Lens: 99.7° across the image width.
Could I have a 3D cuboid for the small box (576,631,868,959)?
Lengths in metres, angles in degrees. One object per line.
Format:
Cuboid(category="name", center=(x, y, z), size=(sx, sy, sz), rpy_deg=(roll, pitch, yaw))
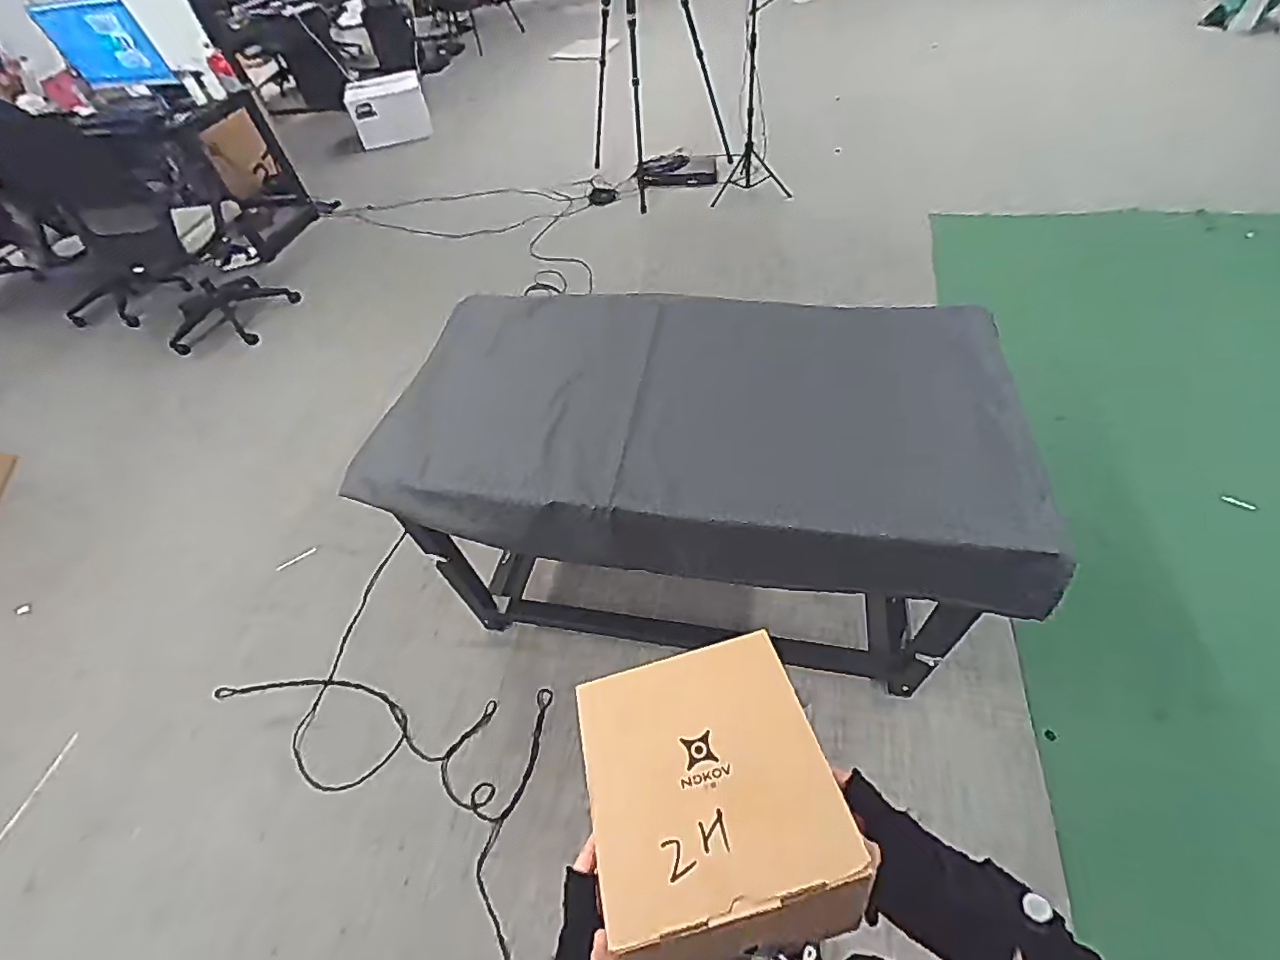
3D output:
Cuboid(category="small box", center=(0.056, 0.257, 0.430), size=(0.168, 0.176, 0.179), rpy_deg=(-16, 40, -1))
